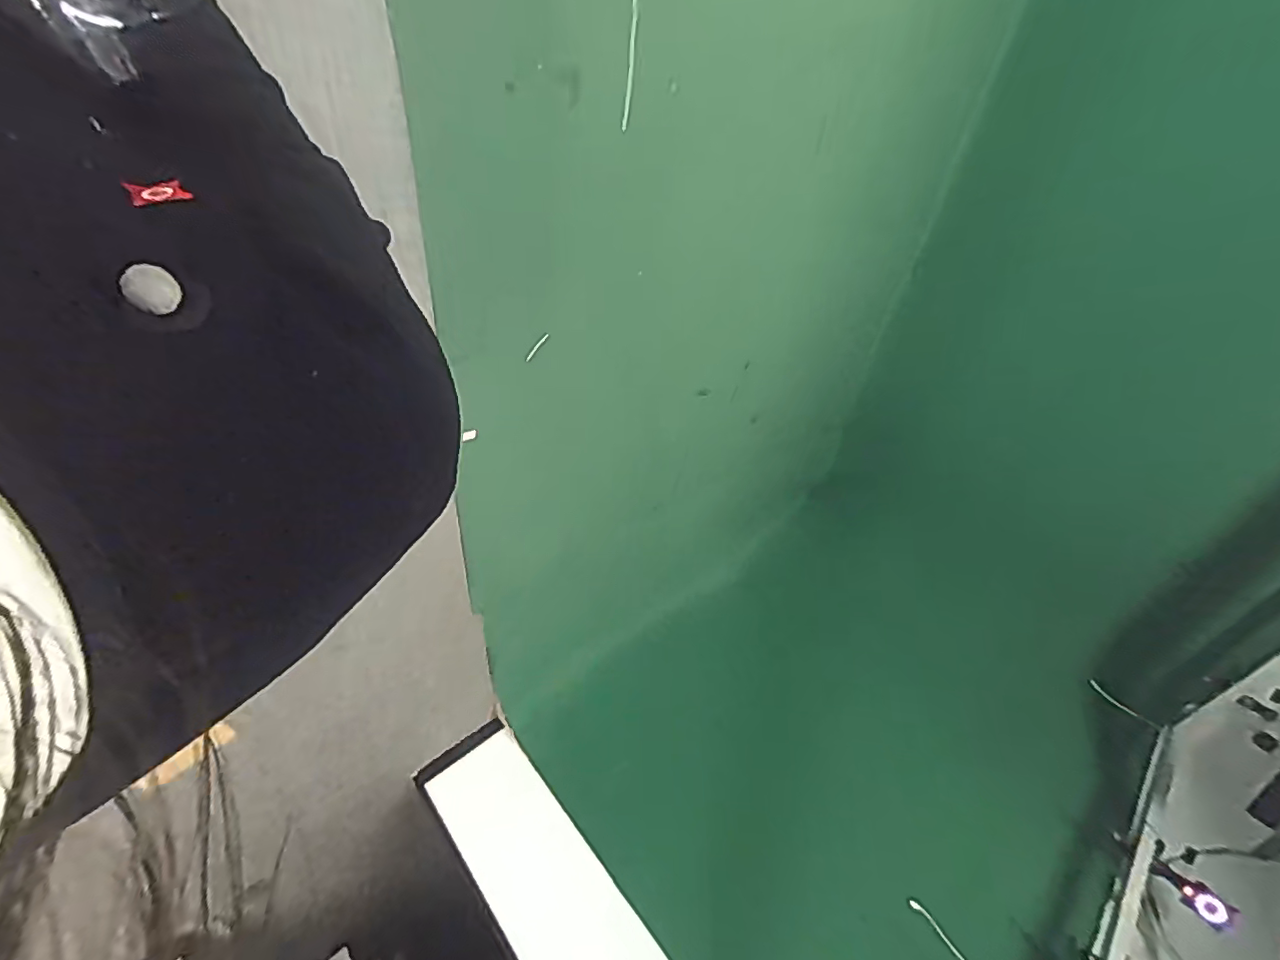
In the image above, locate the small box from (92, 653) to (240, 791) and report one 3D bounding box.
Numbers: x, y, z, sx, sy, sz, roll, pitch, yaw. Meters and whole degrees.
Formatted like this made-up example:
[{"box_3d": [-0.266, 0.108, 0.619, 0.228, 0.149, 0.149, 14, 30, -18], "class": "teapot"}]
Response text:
[{"box_3d": [-1.006, 0.510, 1.149, 0.179, 0.176, 0.168, -34, 143, -24], "class": "small box"}]
